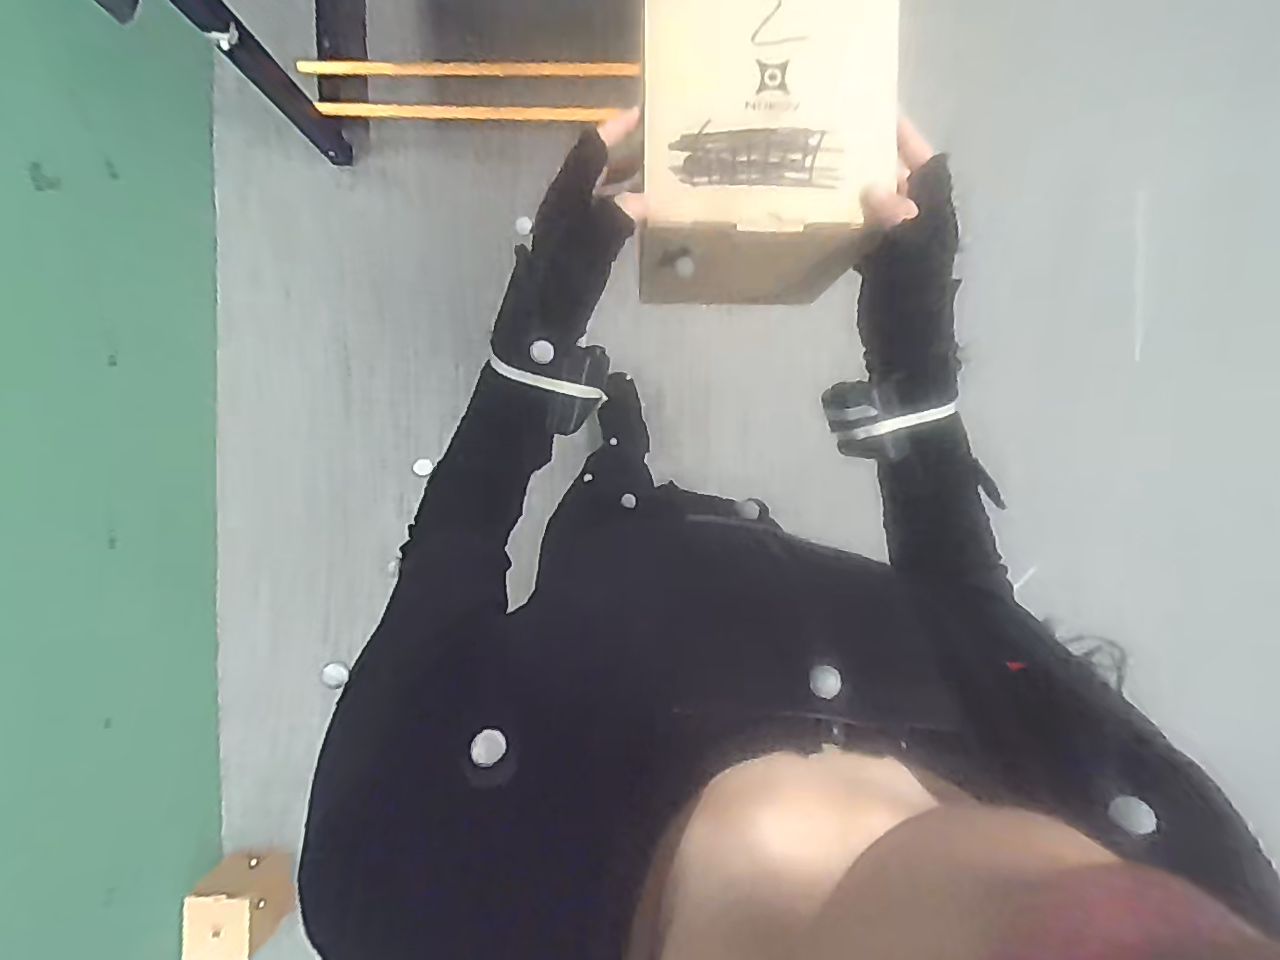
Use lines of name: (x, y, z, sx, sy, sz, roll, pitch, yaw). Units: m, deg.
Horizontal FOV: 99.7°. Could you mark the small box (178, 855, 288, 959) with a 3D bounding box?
small box: (-1.043, 1.117, 1.397, 0.168, 0.176, 0.179, 2, 90, -1)
